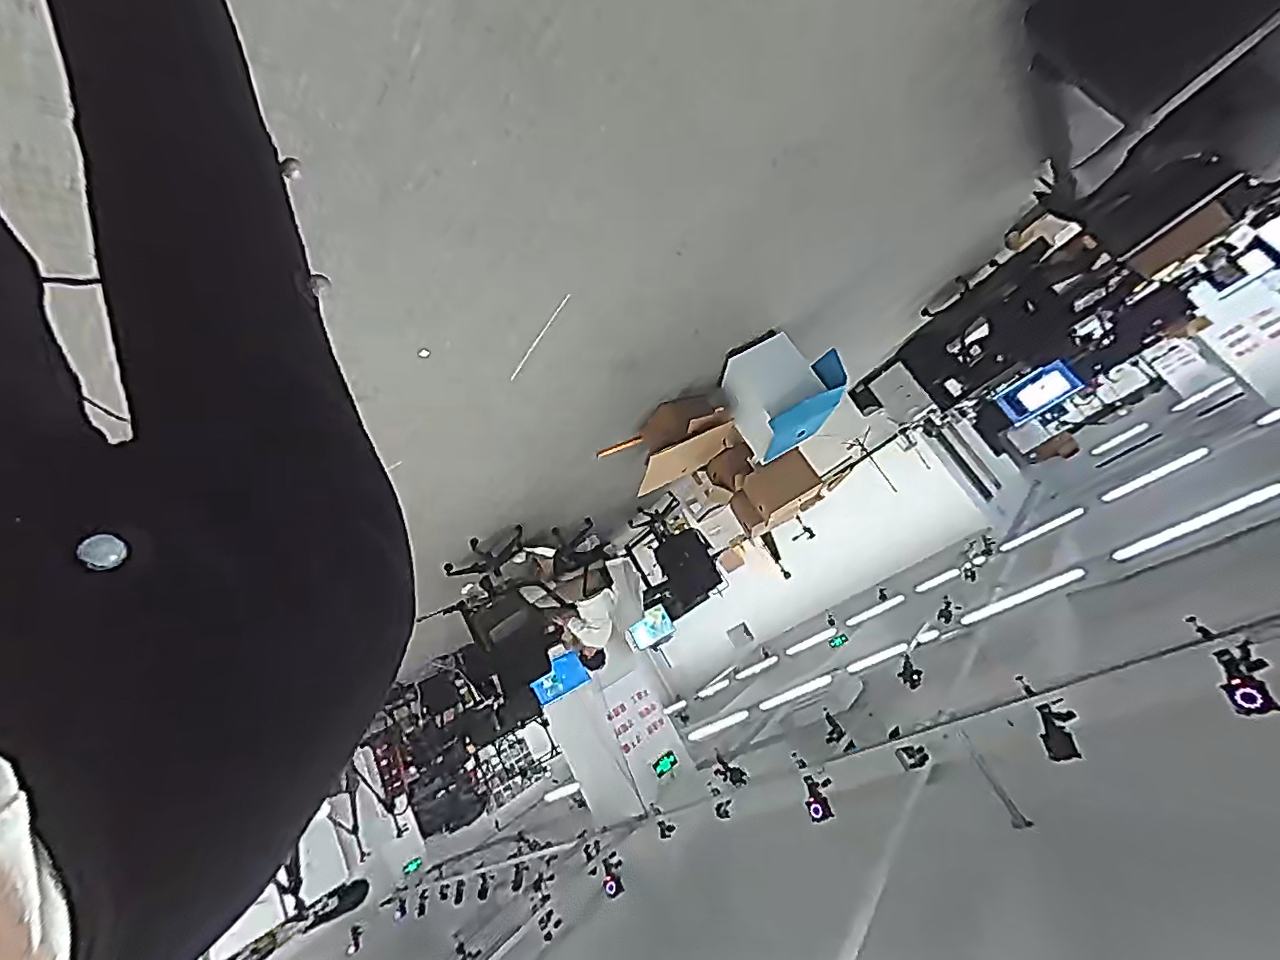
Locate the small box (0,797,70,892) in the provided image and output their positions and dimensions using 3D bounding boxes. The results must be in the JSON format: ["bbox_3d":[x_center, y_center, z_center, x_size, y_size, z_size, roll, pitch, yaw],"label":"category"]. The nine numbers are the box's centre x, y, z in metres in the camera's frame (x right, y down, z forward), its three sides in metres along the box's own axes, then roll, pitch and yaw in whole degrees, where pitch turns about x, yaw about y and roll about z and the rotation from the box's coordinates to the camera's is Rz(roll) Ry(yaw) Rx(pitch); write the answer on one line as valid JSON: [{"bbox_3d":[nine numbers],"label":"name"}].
[{"bbox_3d":[-1.735,1.021,1.508,0.168,0.176,0.179,-13,157,-46],"label":"small box"}]
